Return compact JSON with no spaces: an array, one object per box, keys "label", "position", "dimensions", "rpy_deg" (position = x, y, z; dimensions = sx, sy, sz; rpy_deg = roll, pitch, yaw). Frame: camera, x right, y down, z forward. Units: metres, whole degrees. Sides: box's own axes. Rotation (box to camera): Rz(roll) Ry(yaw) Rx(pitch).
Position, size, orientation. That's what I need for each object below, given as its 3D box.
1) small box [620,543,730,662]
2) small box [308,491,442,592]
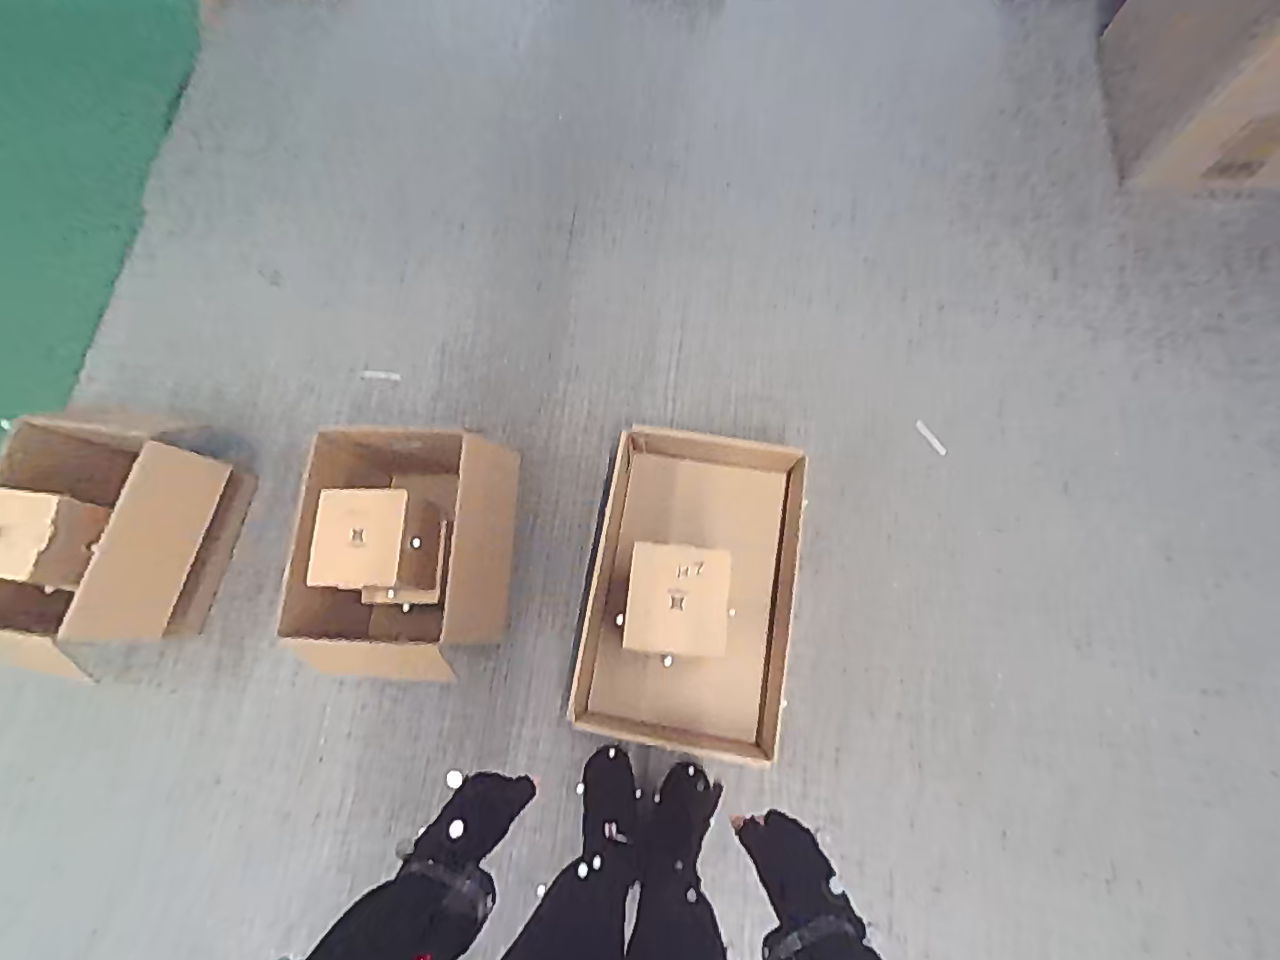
[{"label":"small box","position":[0.063,0.219,0.954],"dimensions":[0.168,0.176,0.179],"rpy_deg":[5,73,4]},{"label":"small box","position":[-0.501,0.125,1.047],"dimensions":[0.168,0.176,0.179],"rpy_deg":[1,76,3]}]
